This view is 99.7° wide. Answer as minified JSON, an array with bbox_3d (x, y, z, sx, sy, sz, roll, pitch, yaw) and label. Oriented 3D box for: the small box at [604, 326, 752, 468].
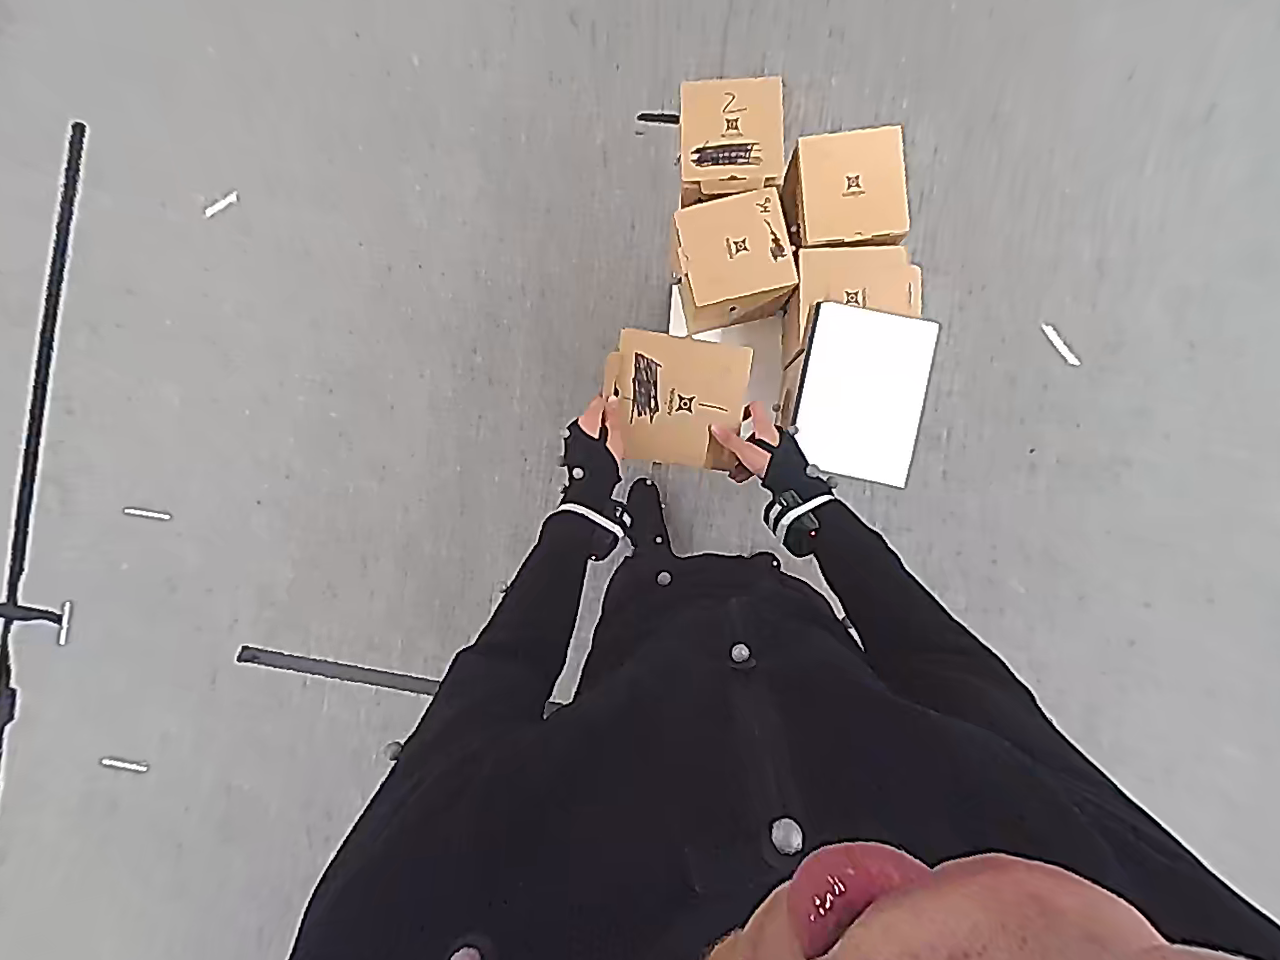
[{"bbox_3d":[0.045,-0.115,0.783,0.179,0.176,0.168,7,97,-5],"label":"small box"}]
